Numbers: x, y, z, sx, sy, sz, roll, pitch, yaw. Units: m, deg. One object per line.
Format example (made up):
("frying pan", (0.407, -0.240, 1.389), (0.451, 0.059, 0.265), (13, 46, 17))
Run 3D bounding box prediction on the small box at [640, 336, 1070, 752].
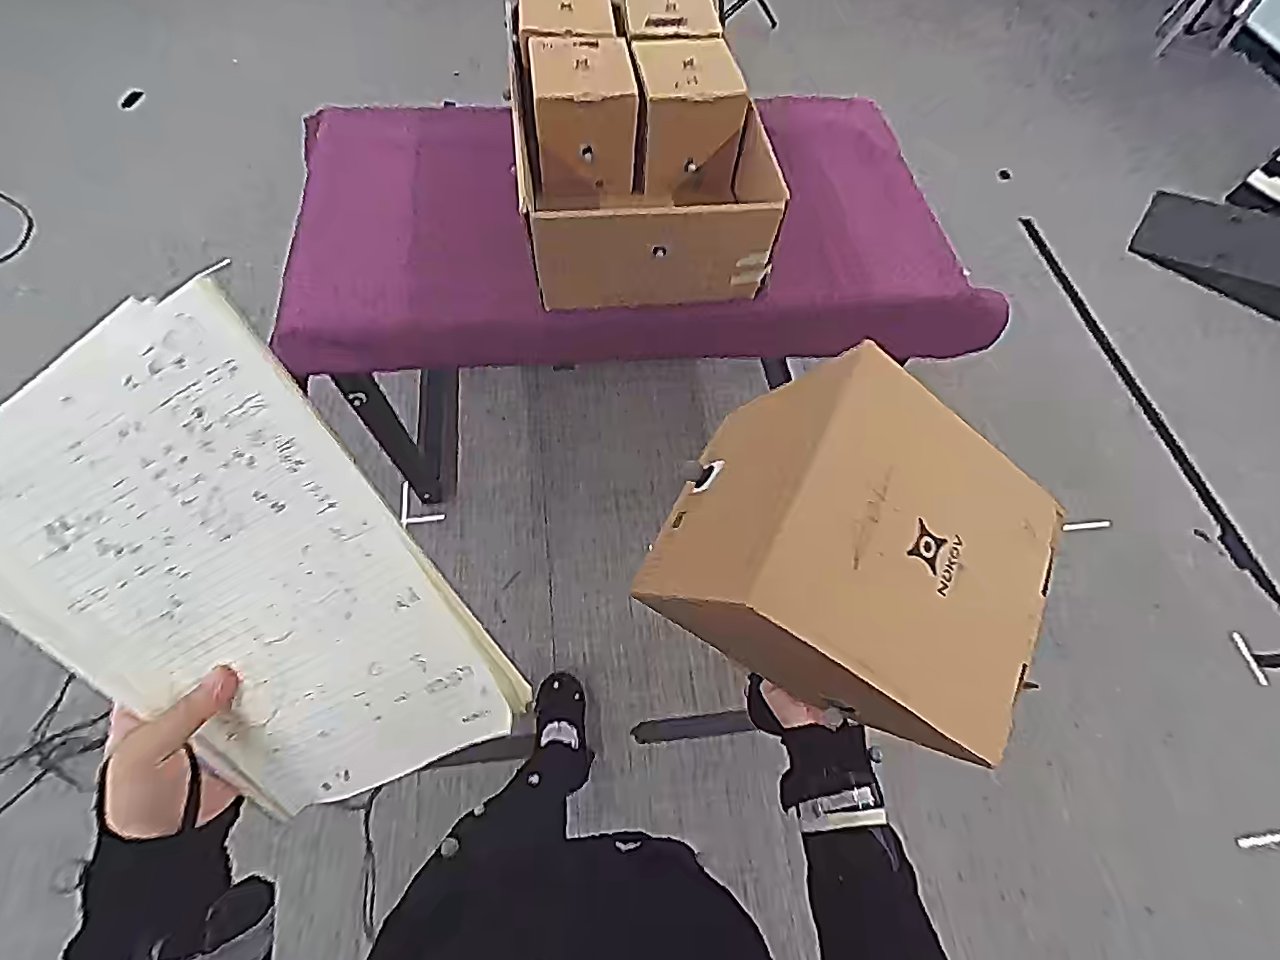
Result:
("small box", (0.130, 0.043, 0.364), (0.179, 0.176, 0.168), (35, 70, -12))
